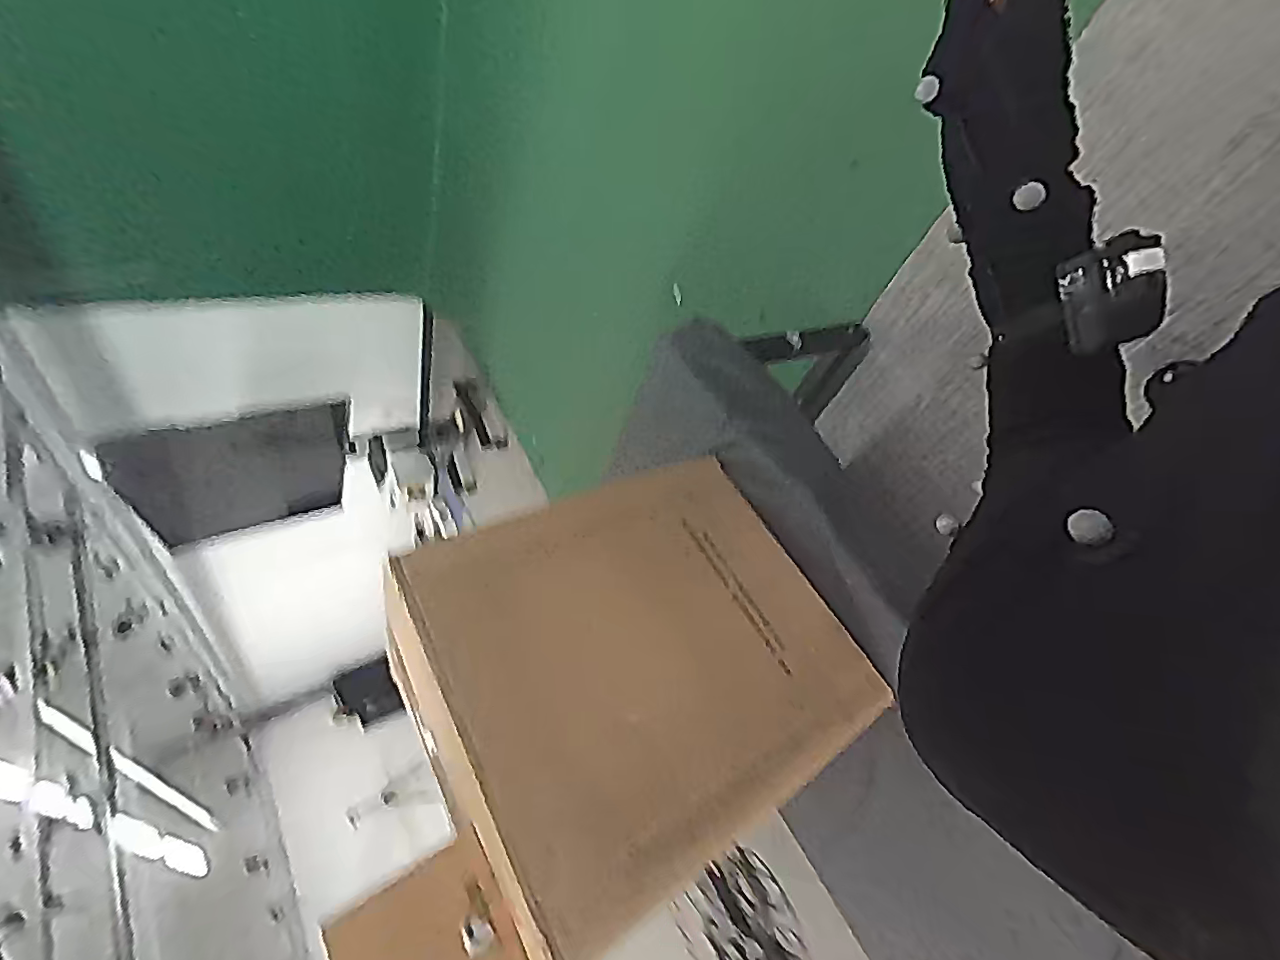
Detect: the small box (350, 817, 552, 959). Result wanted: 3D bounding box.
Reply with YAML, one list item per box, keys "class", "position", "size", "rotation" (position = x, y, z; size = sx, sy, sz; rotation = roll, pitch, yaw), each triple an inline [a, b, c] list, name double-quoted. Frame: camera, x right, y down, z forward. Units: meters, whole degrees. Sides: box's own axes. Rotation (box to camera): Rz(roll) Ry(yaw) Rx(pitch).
- class: "small box"
  position: [-0.221, 0.542, 0.637]
  size: [0.168, 0.176, 0.179]
  rotation: [50, 138, 27]
